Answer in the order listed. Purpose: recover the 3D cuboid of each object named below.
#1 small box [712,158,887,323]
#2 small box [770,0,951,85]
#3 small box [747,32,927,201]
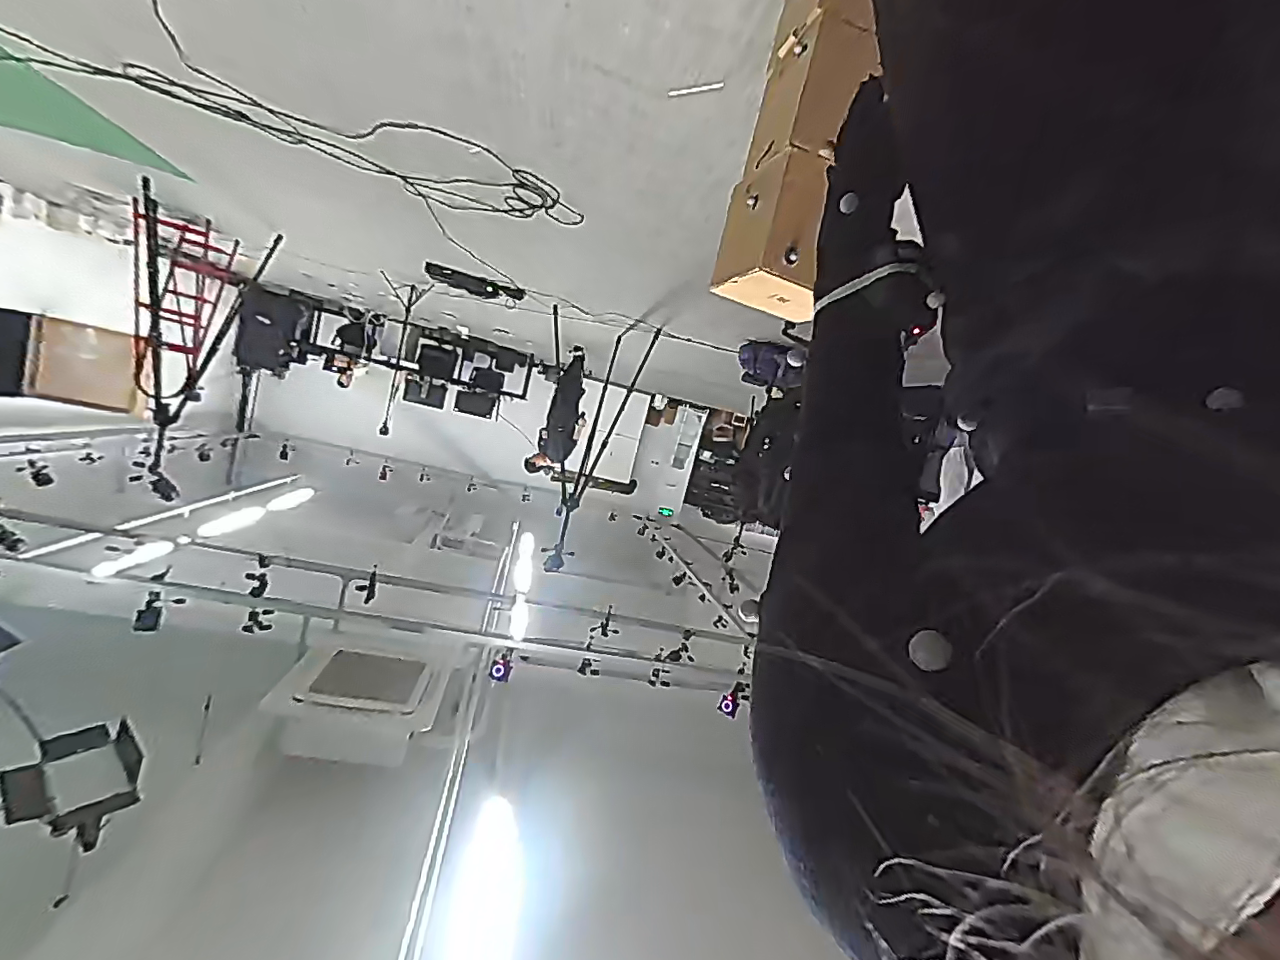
[{"bbox_3d":[0.240,-0.355,0.827,0.179,0.176,0.168,13,-175,-20],"label":"small box"},{"bbox_3d":[0.321,-0.671,0.784,0.179,0.176,0.168,15,-172,-12],"label":"small box"},{"bbox_3d":[0.283,-0.510,0.805,0.179,0.176,0.168,12,-174,-14],"label":"small box"}]
